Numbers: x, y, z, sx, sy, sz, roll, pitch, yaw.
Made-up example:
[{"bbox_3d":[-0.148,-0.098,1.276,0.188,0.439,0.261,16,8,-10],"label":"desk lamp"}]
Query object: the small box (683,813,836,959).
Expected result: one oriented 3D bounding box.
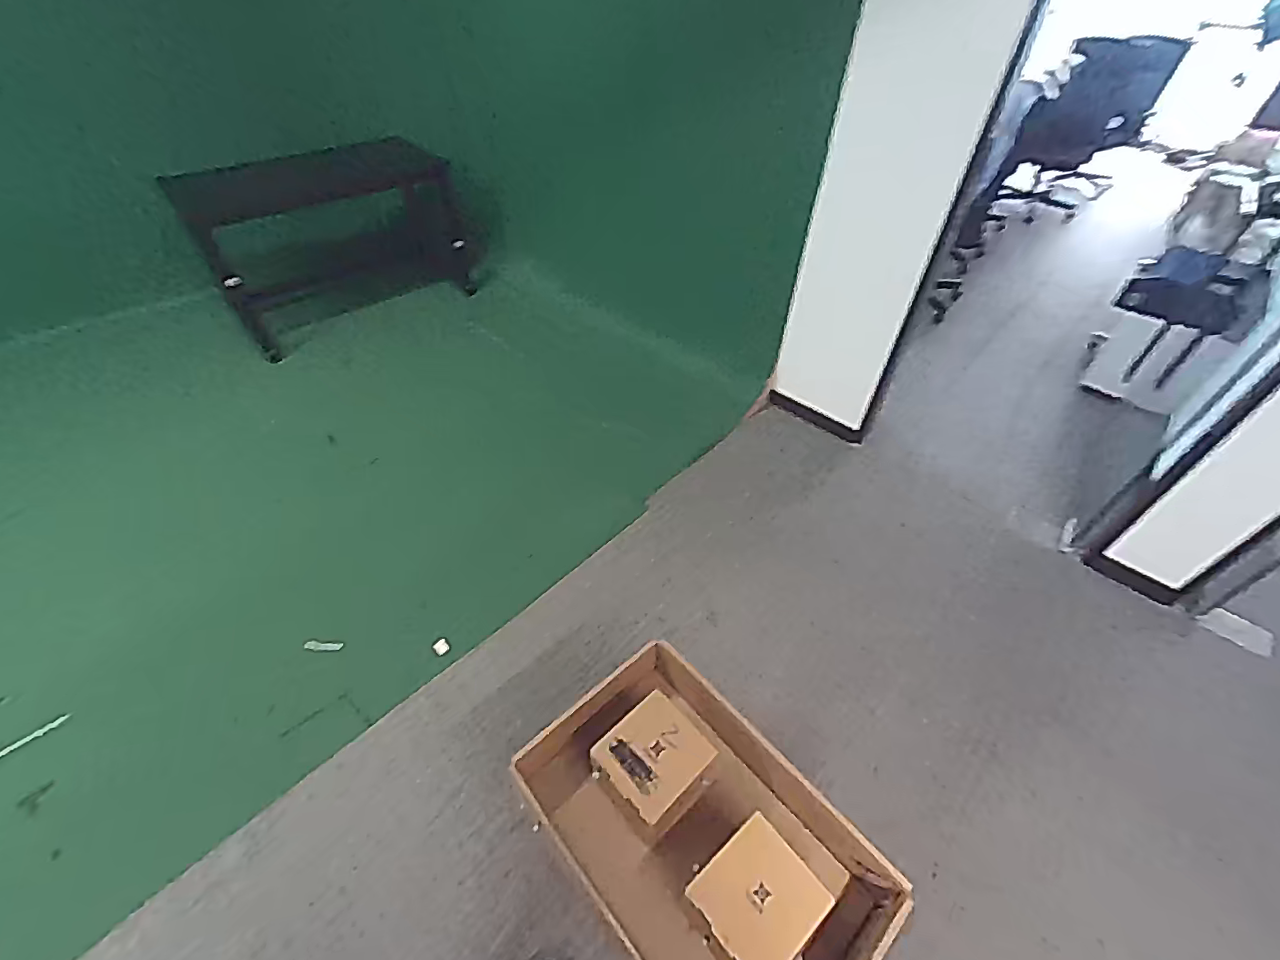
[{"bbox_3d":[0.186,0.700,0.892,0.179,0.176,0.168,-32,54,-27],"label":"small box"}]
